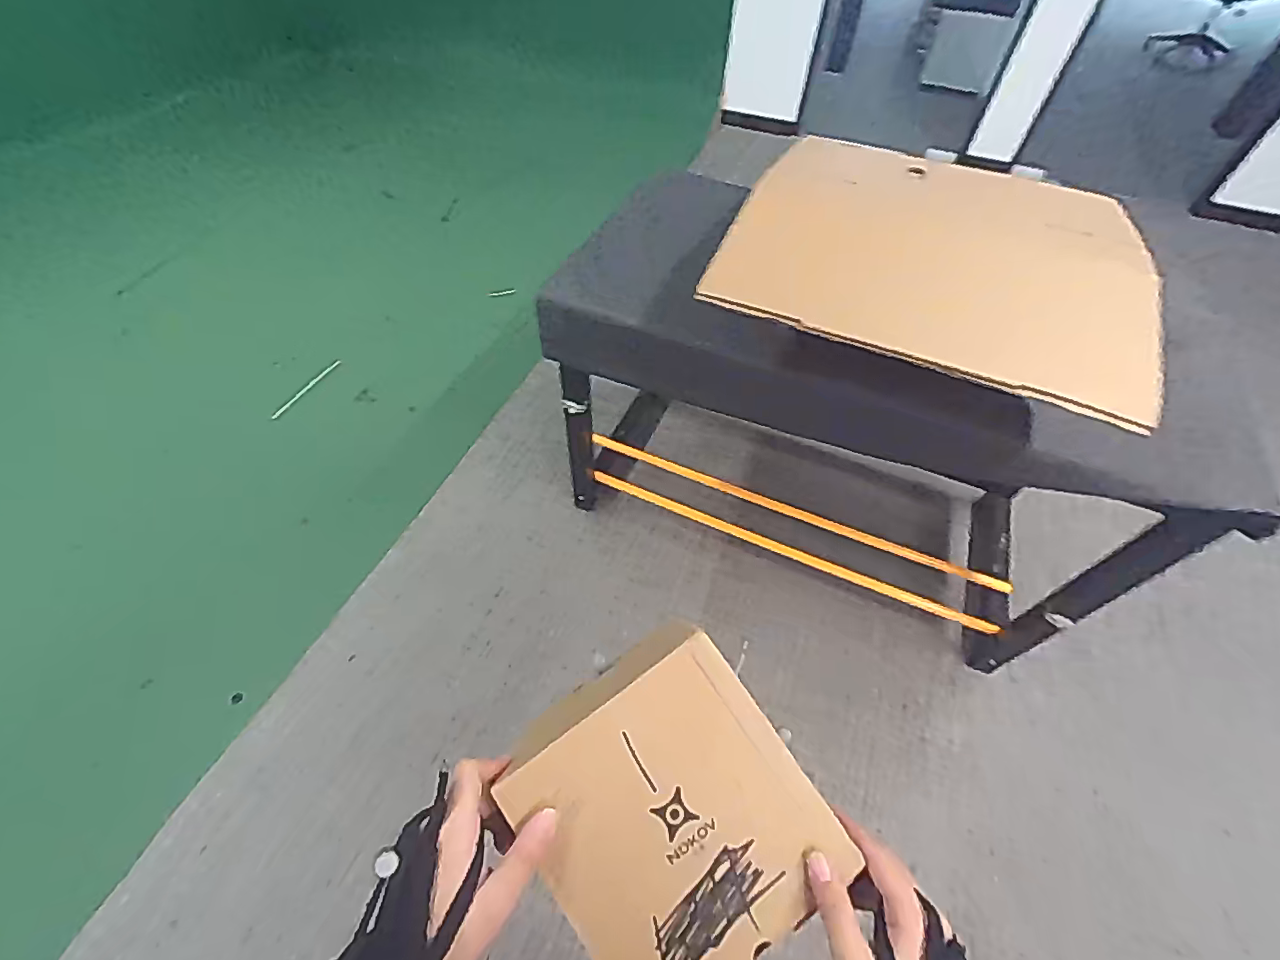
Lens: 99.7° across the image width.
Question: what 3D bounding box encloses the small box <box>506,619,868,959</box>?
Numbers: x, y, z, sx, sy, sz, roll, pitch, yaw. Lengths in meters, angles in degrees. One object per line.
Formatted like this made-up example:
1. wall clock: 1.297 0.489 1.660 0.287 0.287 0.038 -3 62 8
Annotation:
1. small box: 0.026 0.224 0.414 0.168 0.176 0.179 -34 82 -10
